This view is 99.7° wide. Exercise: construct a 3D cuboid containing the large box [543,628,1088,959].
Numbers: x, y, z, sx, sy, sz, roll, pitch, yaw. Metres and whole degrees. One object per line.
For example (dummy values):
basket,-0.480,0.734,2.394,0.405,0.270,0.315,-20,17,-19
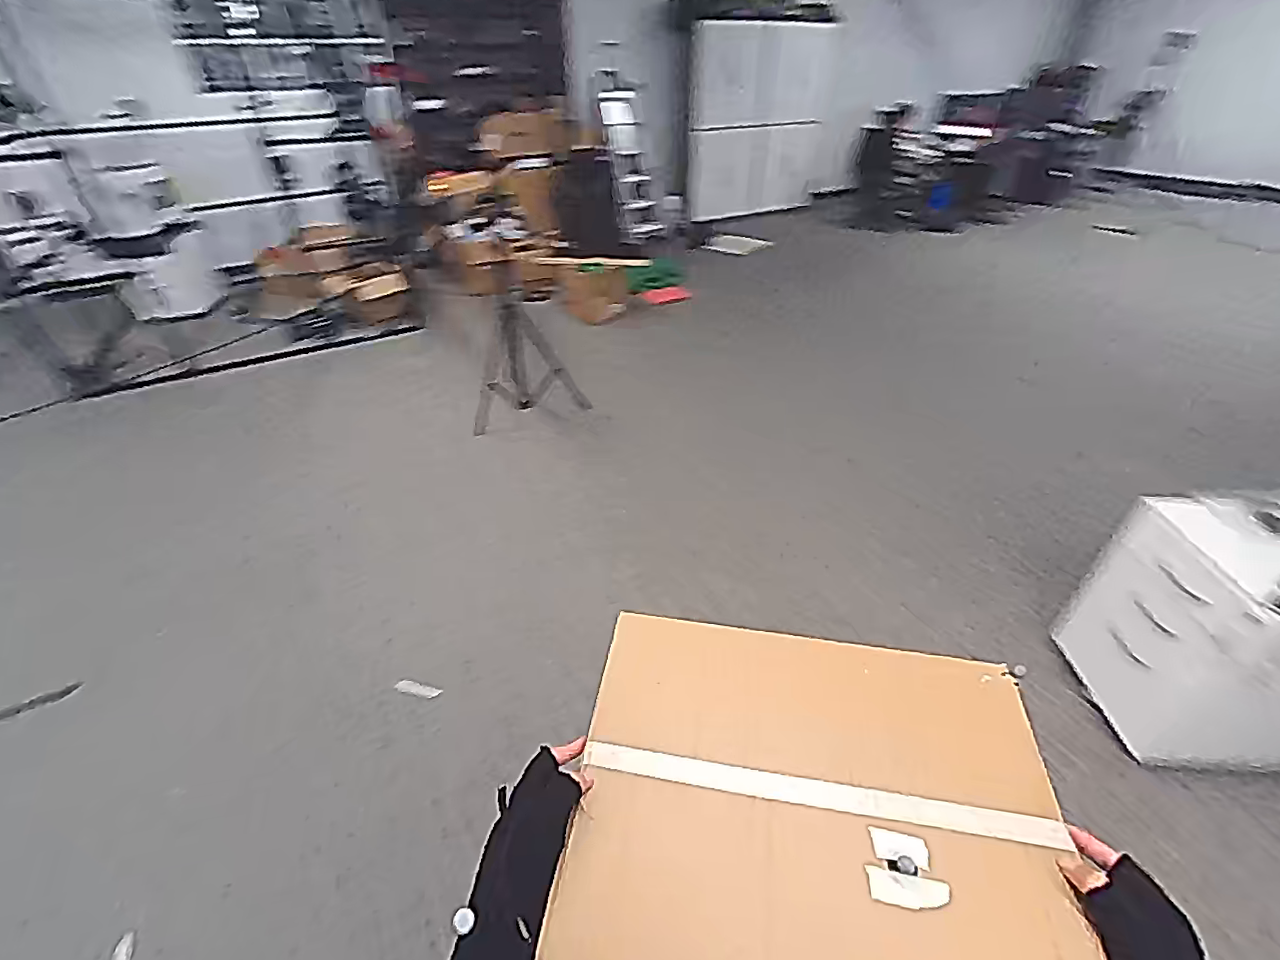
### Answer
large box,0.143,0.392,0.573,0.408,0.320,0.320,5,43,7
